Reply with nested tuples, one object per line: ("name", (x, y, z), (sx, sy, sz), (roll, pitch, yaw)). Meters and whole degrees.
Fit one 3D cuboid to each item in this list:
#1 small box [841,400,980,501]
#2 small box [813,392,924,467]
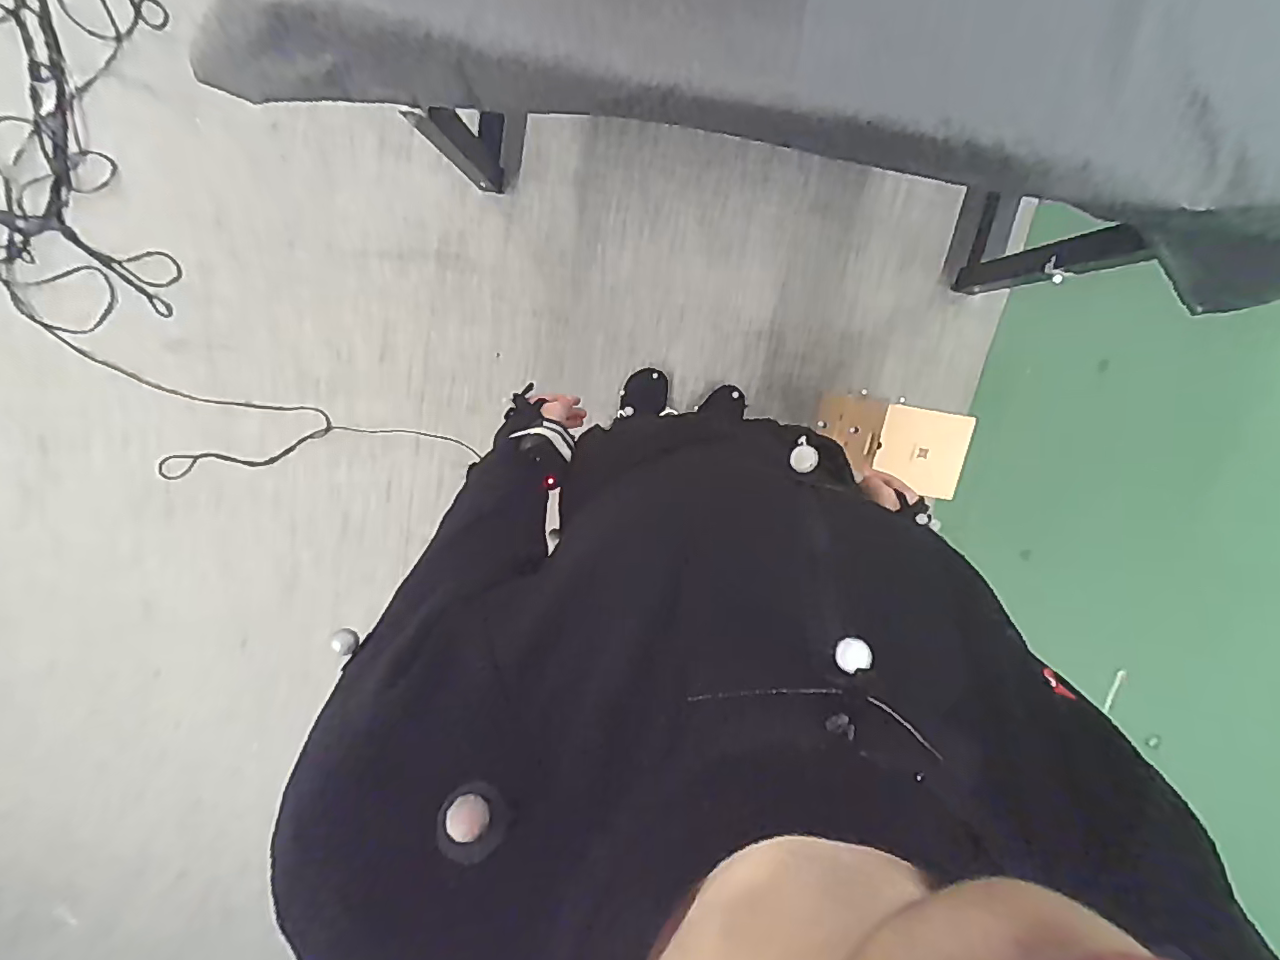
("small box", (0.539, -0.068, 1.103), (0.179, 0.176, 0.168), (9, 103, -1))
("small box", (0.524, -0.109, 1.263), (0.179, 0.176, 0.168), (10, 101, -1))
